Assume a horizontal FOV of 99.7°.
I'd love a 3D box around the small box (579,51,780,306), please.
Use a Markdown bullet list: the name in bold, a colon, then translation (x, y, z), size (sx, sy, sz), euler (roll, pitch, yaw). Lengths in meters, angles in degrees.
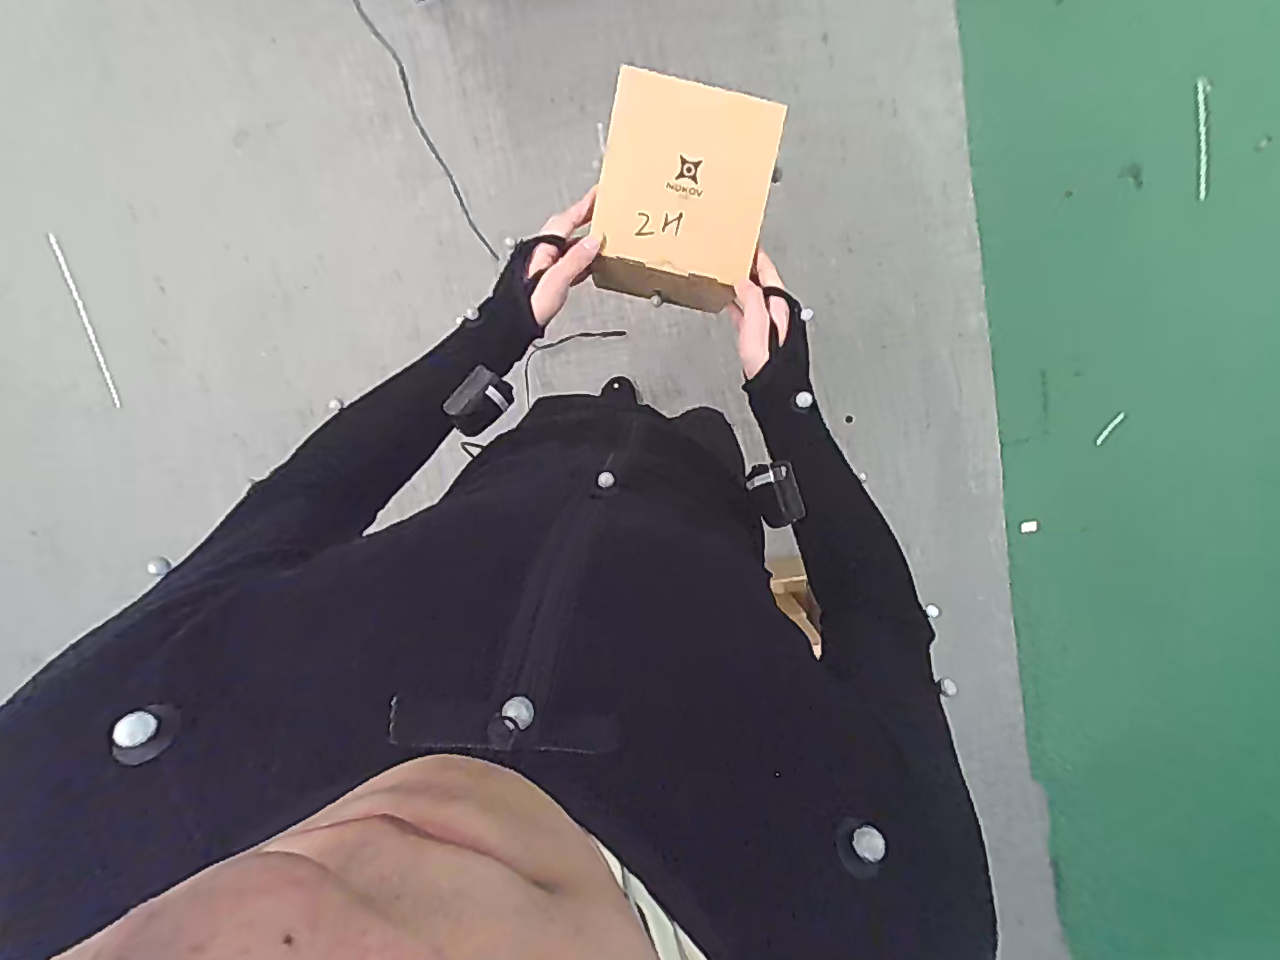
- **small box**: translation (0.034, -0.309, 0.594), size (0.168, 0.176, 0.179), euler (11, 97, -3)
